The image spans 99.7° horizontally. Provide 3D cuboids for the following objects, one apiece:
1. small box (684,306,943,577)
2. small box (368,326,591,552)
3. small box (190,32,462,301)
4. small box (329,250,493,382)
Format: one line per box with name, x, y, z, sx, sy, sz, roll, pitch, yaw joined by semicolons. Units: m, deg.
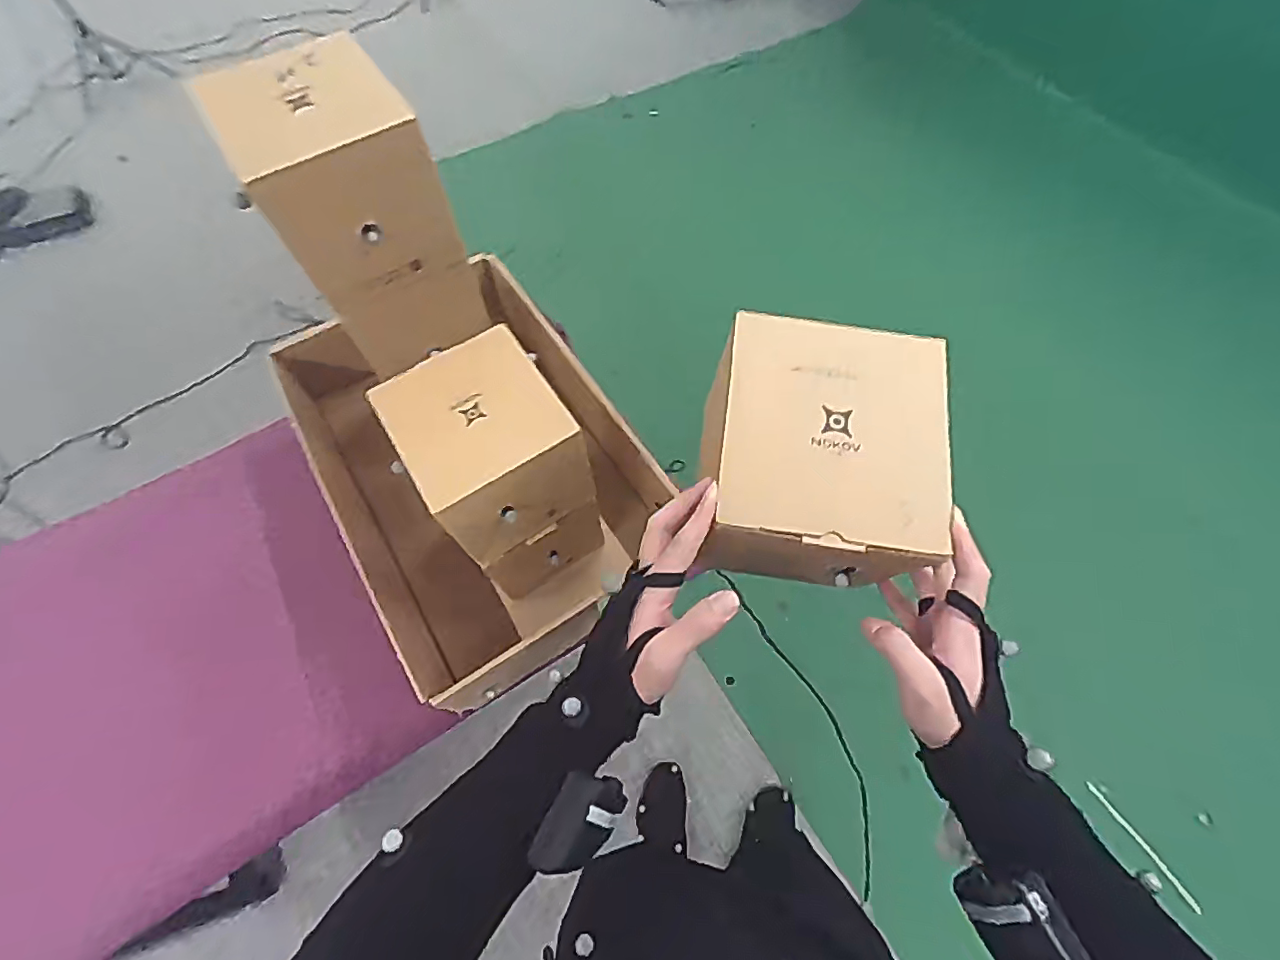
small box;0.134;-0.018;0.467;0.168;0.176;0.179;8;73;0
small box;-0.172;-0.035;0.629;0.168;0.176;0.179;-32;67;-13
small box;-0.318;-0.321;0.580;0.168;0.176;0.179;-31;69;-14
small box;-0.321;-0.254;0.732;0.168;0.176;0.179;-33;70;-13
